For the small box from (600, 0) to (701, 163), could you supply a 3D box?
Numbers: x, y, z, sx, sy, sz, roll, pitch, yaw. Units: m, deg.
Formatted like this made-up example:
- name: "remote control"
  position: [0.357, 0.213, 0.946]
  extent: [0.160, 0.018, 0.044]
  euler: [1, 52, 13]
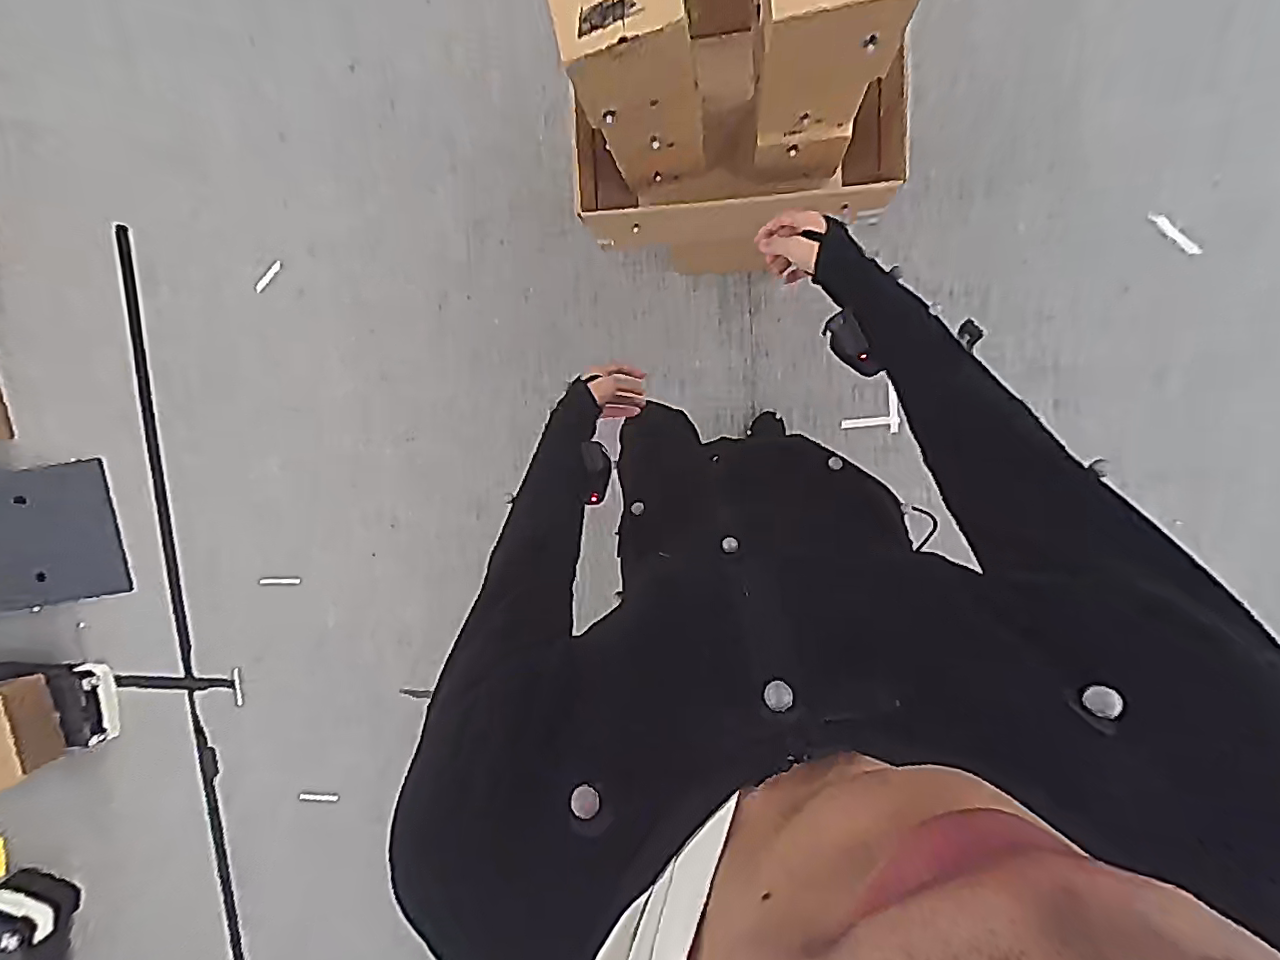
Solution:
- name: "small box"
  position: [0.008, -0.674, 0.906]
  extent: [0.168, 0.176, 0.179]
  euler: [-9, 96, 10]

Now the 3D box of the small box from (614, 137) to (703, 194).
- name: "small box"
  position: [0.029, -0.702, 1.066]
  extent: [0.168, 0.176, 0.179]
  euler: [-10, 95, 10]

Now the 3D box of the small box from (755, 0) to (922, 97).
- name: "small box"
  position: [0.249, -0.643, 0.705]
  extent: [0.179, 0.176, 0.168]
  euler: [-5, 95, 9]

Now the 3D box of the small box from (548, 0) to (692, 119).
- name: "small box"
  position: [-0.027, -0.639, 0.748]
  extent: [0.168, 0.176, 0.179]
  euler: [-12, 95, 10]
